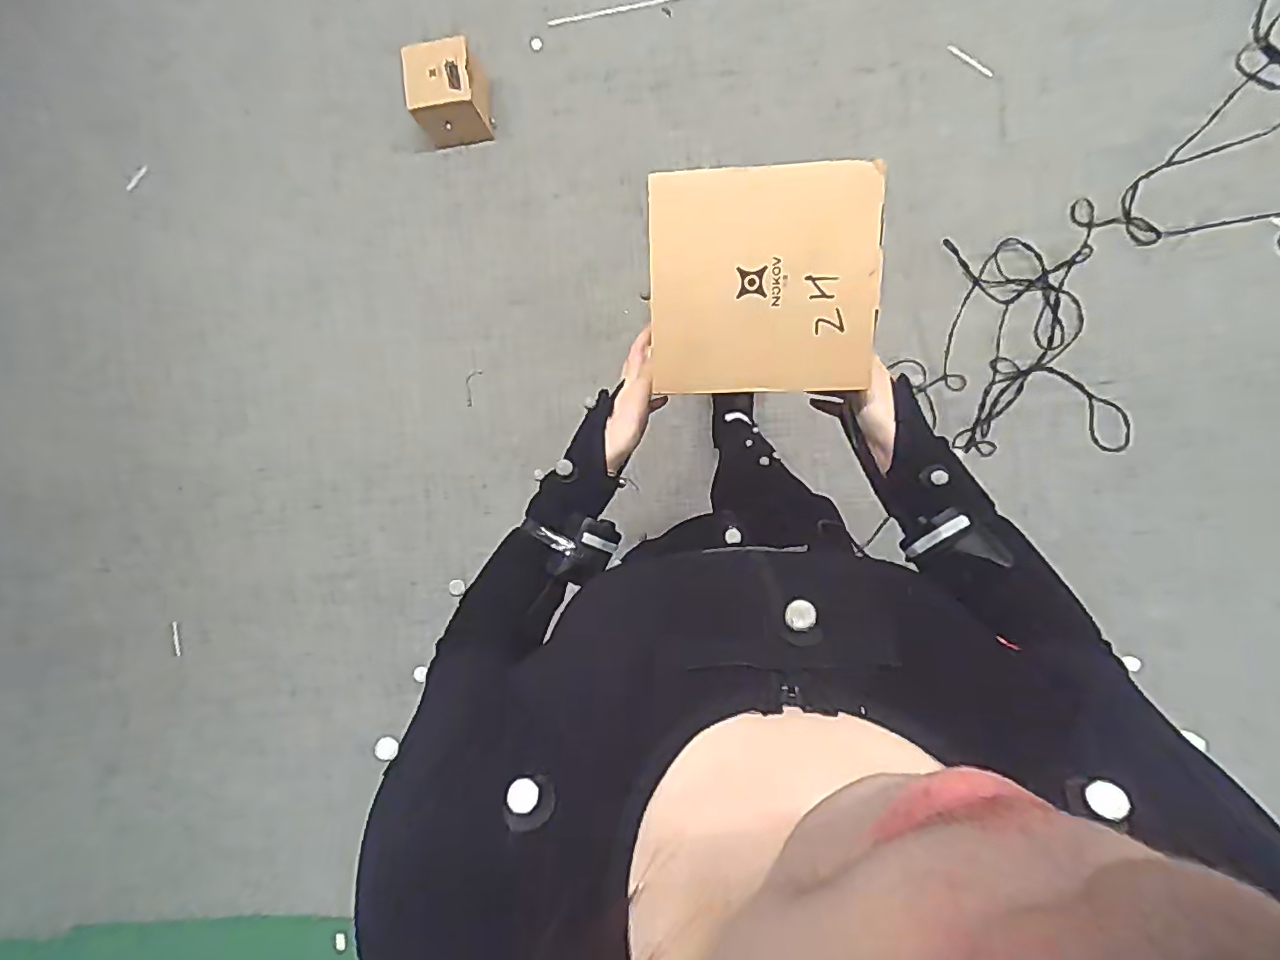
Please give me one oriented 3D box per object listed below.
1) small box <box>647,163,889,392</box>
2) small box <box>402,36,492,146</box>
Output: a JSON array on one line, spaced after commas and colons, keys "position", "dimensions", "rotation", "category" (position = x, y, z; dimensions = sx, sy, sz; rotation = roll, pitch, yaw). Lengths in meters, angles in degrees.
[{"position": [0.101, -0.168, 0.491], "dimensions": [0.179, 0.176, 0.168], "rotation": [0, 104, 5], "category": "small box"}, {"position": [-0.510, -1.036, 1.454], "dimensions": [0.179, 0.176, 0.168], "rotation": [-5, 91, 6], "category": "small box"}]
